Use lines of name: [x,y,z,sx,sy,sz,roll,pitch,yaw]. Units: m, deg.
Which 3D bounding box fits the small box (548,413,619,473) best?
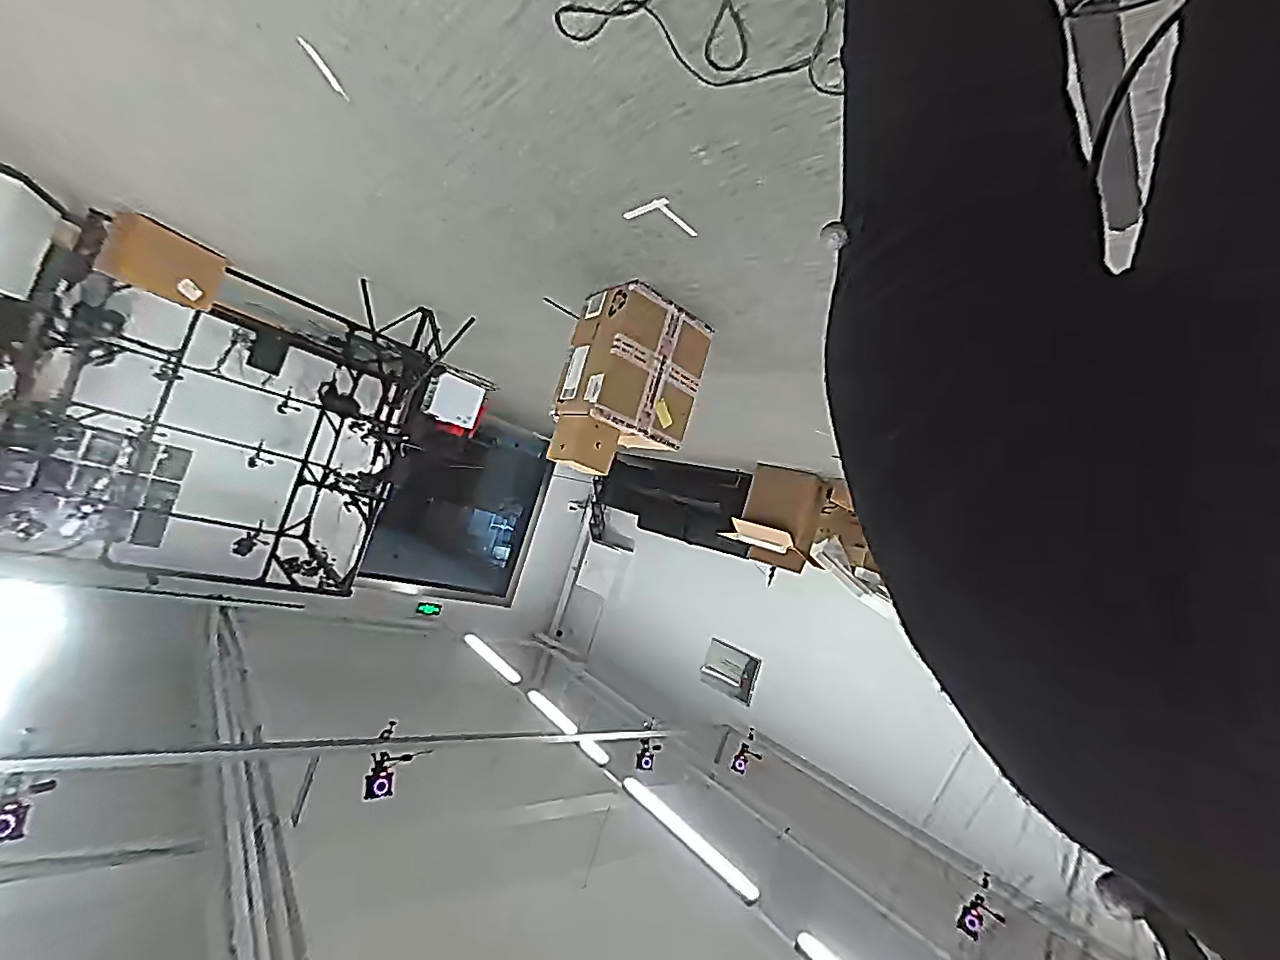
small box: [-0.195,-0.132,1.922,0.168,0.176,0.179,24,171,-37]
